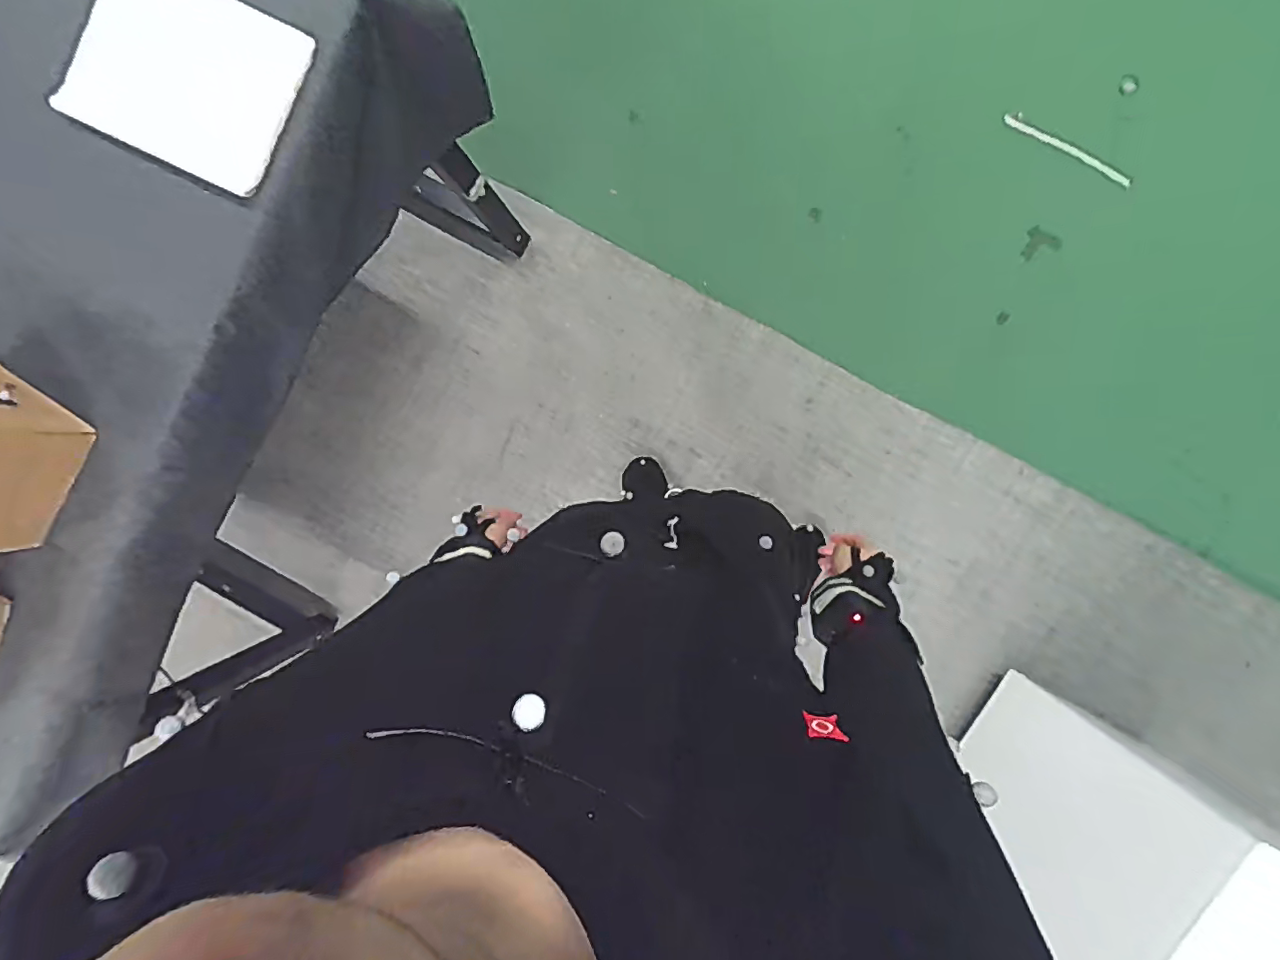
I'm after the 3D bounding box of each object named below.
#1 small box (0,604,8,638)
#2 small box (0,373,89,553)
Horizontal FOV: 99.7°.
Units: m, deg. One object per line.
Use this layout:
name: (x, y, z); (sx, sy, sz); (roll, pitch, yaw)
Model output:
small box: (-0.919, 0.204, 0.626); (0.179, 0.176, 0.168); (24, 94, 4)
small box: (-0.790, -0.020, 0.602); (0.168, 0.176, 0.179); (32, 95, 3)
